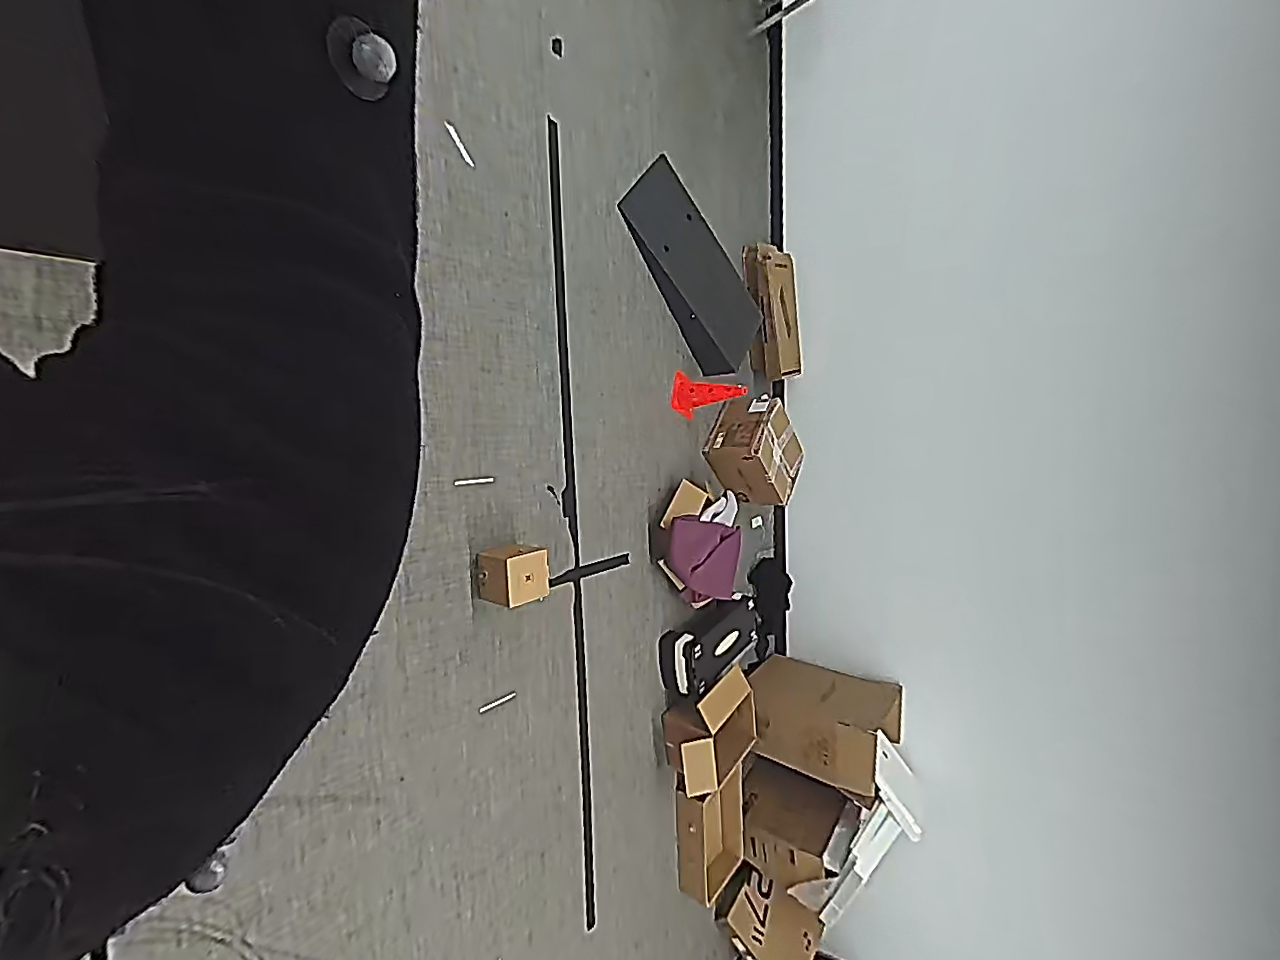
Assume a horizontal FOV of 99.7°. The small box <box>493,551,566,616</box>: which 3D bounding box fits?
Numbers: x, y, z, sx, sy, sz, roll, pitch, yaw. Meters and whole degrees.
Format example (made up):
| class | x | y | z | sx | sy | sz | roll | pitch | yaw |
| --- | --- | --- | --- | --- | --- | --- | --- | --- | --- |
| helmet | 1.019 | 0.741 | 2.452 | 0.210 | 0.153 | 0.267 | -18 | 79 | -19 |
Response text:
| class | x | y | z | sx | sy | sz | roll | pitch | yaw |
| --- | --- | --- | --- | --- | --- | --- | --- | --- | --- |
| small box | -0.375 | 0.344 | 1.836 | 0.179 | 0.176 | 0.168 | -10 | 99 | -50 |
